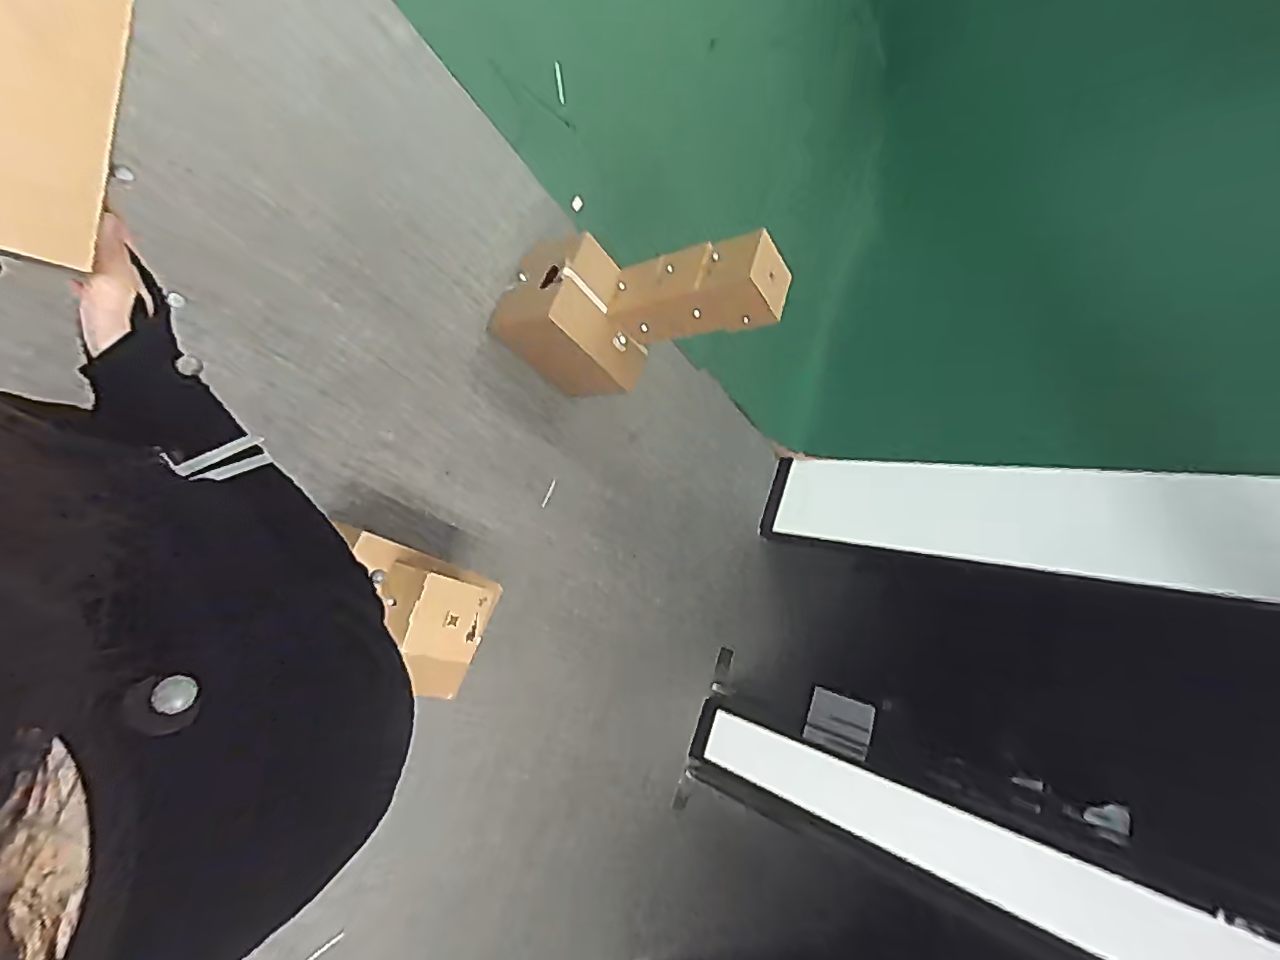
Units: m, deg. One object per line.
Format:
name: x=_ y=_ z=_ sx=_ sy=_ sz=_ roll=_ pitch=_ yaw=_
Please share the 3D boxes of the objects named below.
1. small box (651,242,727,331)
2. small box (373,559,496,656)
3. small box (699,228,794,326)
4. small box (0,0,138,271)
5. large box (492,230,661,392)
small box: x=0.163 y=-0.550 z=1.566 sx=0.179 sy=0.176 sz=0.168 roll=36 pitch=65 yaw=-43
small box: x=-0.466 y=0.283 z=1.219 sx=0.179 sy=0.176 sz=0.168 roll=32 pitch=69 yaw=-44
small box: x=0.288 y=-0.537 z=1.461 sx=0.179 sy=0.176 sz=0.168 roll=38 pitch=63 yaw=-41
small box: x=-0.432 y=-0.238 z=0.318 sx=0.179 sy=0.176 sz=0.168 roll=8 pitch=98 yaw=-47
large box: x=-0.200 y=-0.527 z=1.775 sx=0.408 sy=0.320 sz=0.320 roll=38 pitch=67 yaw=-44
